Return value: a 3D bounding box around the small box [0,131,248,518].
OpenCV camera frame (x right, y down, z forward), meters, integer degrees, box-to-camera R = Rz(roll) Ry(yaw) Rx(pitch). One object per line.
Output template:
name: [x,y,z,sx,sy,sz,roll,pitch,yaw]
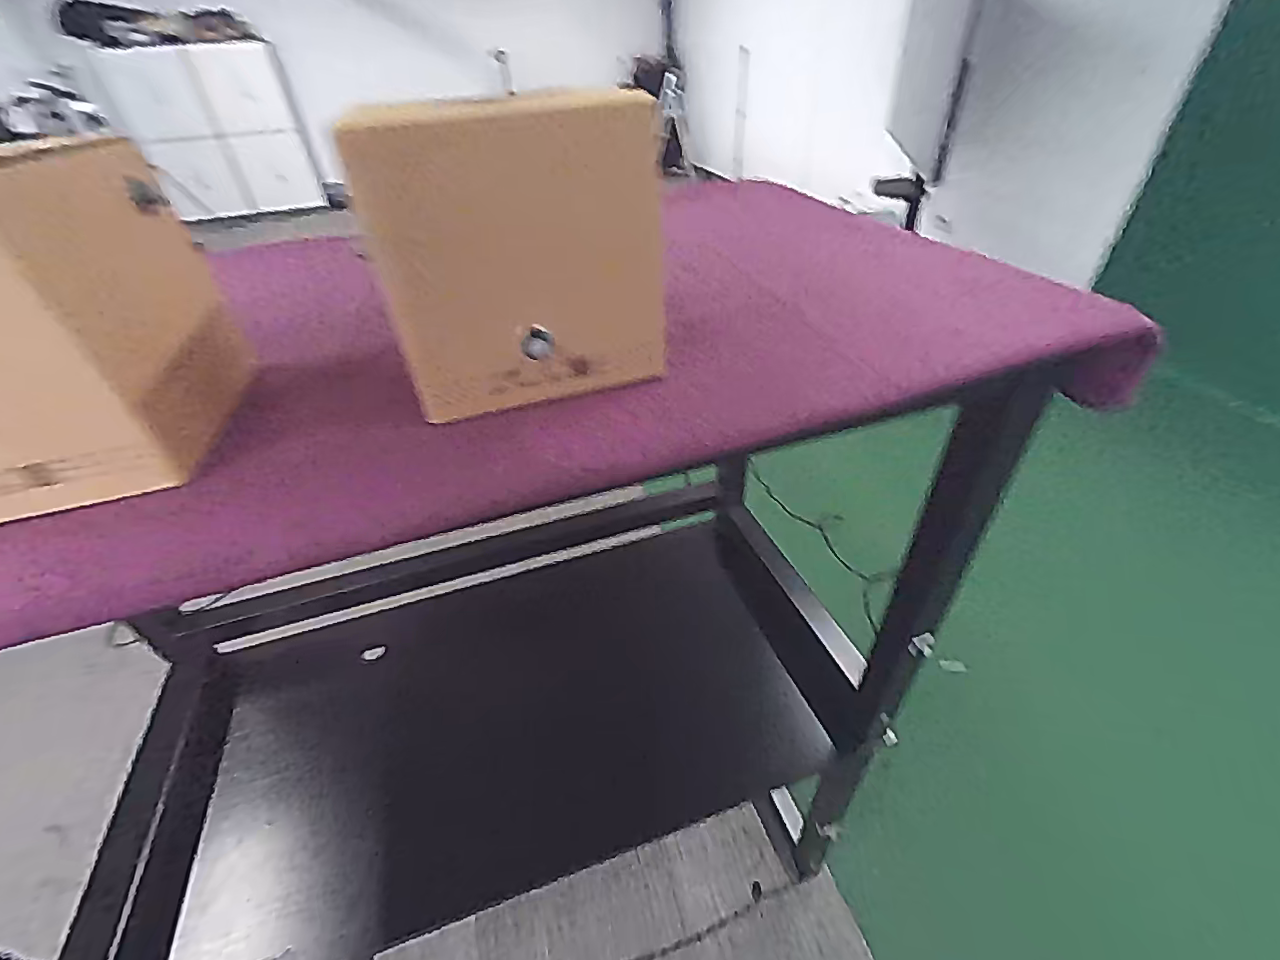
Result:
small box: [-0.373,-0.088,0.316,0.168,0.176,0.179,-14,39,-11]
